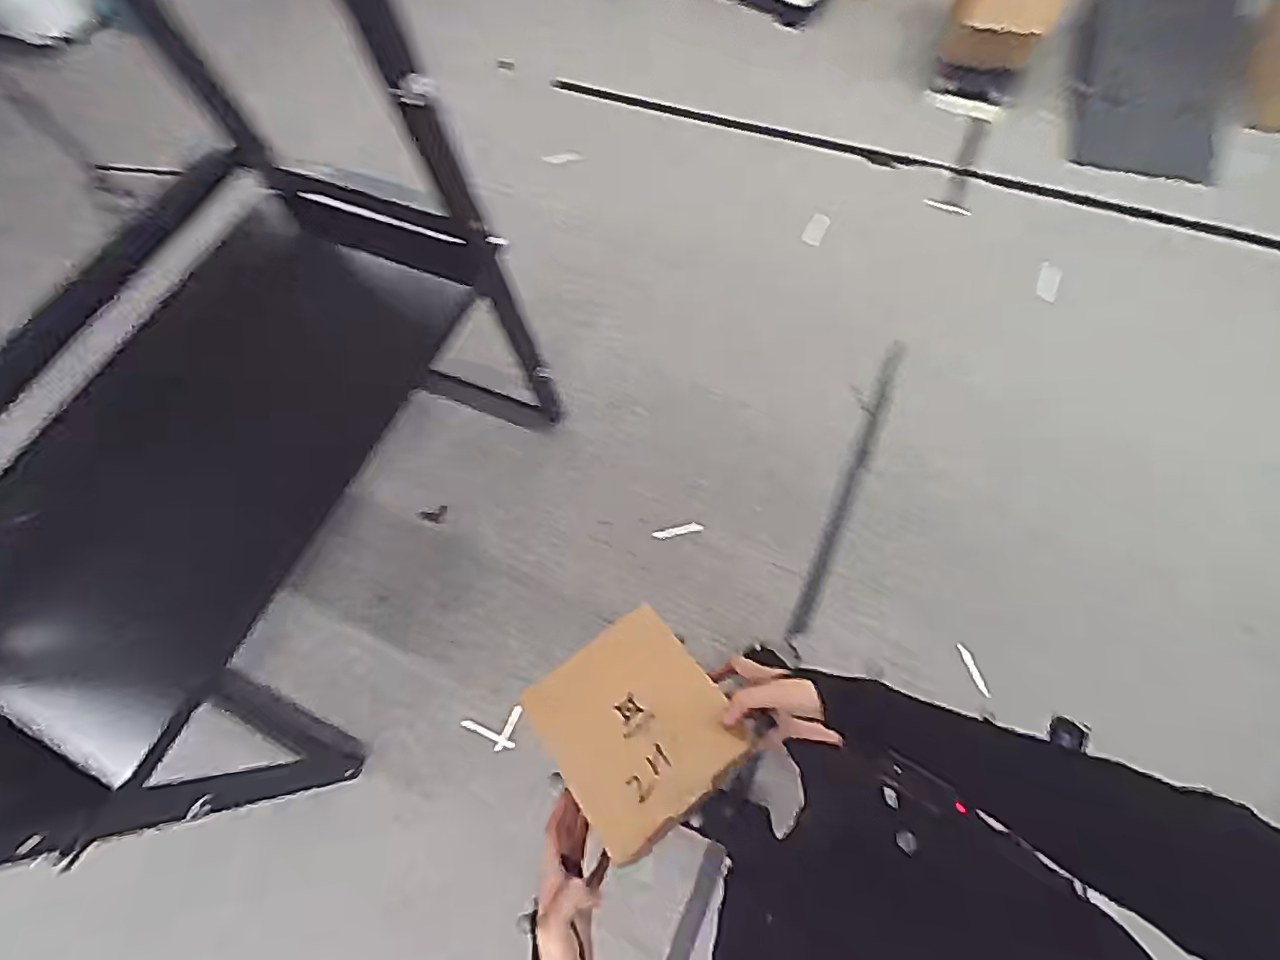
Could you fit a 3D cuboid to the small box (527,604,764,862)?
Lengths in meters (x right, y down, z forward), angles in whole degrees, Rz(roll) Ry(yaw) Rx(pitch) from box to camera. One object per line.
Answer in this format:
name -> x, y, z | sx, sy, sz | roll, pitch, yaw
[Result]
small box -> 0.006, 0.273, 0.582 | 0.168, 0.176, 0.179 | -34, 60, -17
